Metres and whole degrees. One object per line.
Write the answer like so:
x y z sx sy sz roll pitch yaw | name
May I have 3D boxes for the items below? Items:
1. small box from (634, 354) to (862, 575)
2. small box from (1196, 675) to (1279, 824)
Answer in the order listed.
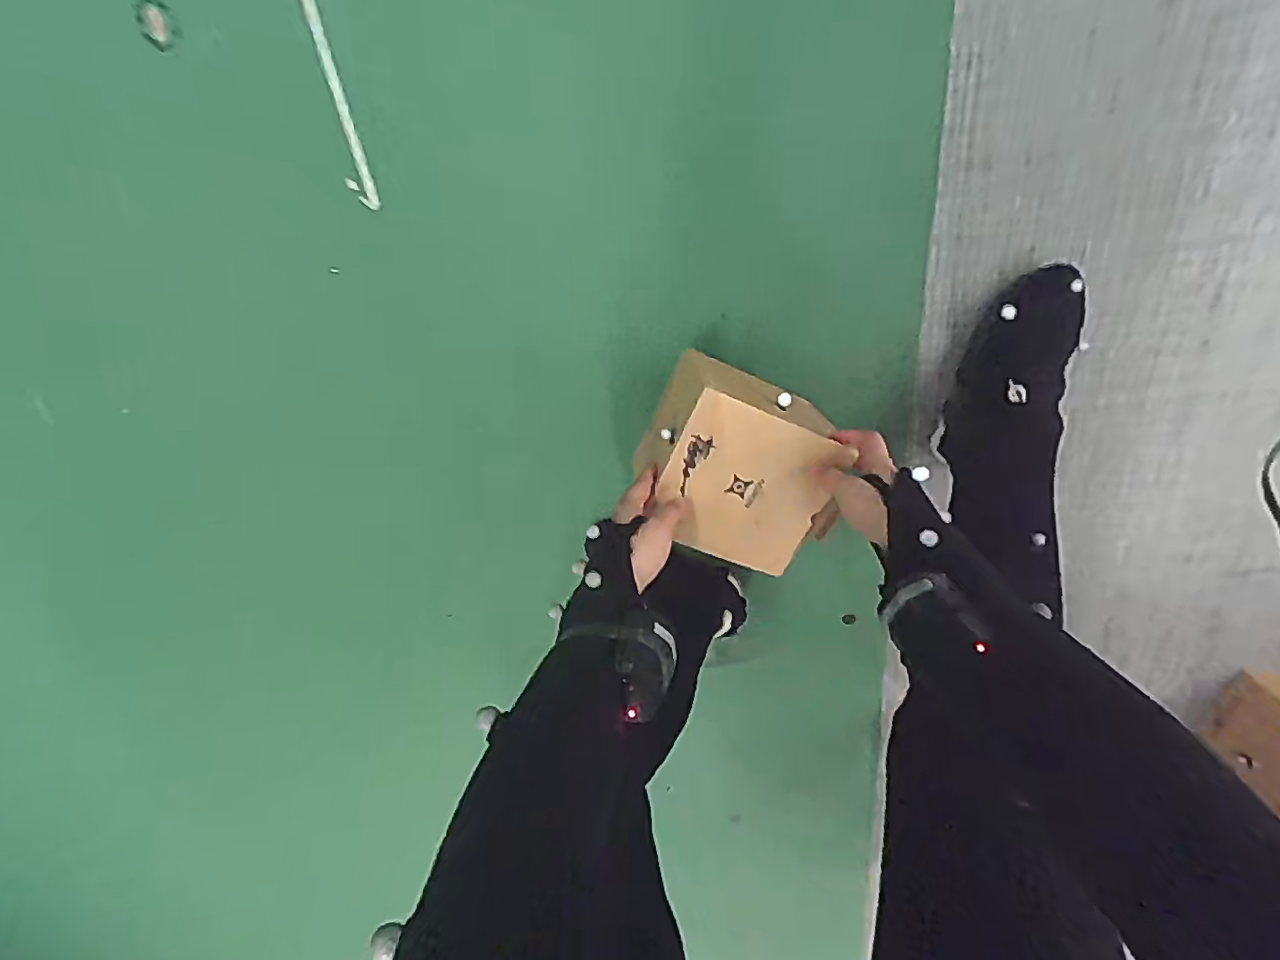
0.105 -0.026 0.614 0.179 0.176 0.168 22 111 -13 | small box
1.089 0.441 0.877 0.179 0.176 0.168 6 118 -2 | small box
